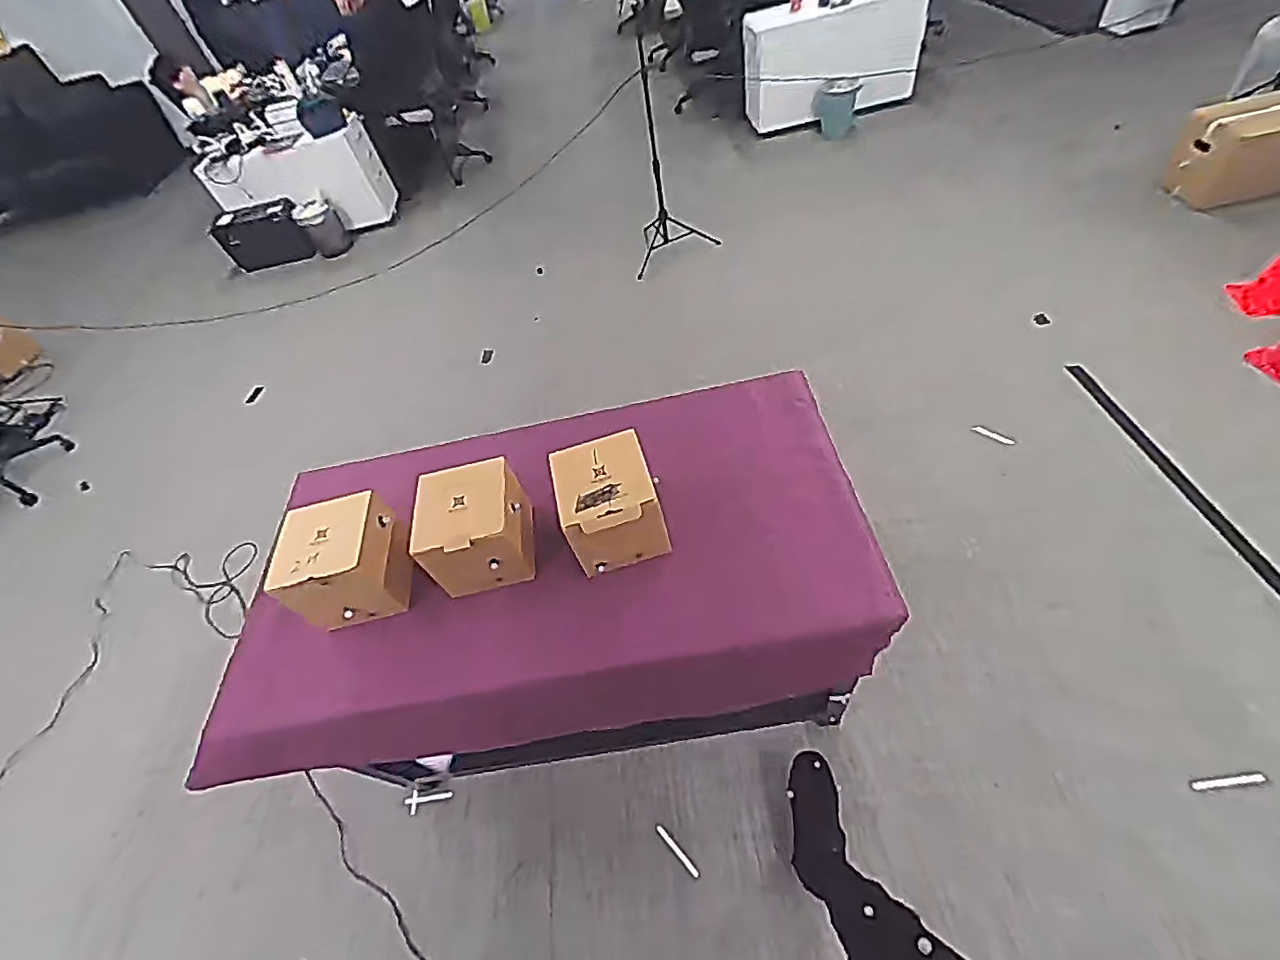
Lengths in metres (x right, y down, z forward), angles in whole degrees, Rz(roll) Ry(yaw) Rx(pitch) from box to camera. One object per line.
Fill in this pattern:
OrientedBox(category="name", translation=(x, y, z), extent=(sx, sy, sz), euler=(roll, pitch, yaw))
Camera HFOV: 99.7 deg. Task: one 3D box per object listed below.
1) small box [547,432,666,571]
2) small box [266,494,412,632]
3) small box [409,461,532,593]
OrientedBox(category="small box", translation=(-0.058, 0.047, 0.994), extent=(0.168, 0.176, 0.179), euler=(-17, 50, -1))
OrientedBox(category="small box", translation=(-0.549, 0.159, 1.017), extent=(0.168, 0.176, 0.179), euler=(-15, 51, 2))
OrientedBox(category="small box", translation=(-0.306, 0.096, 1.015), extent=(0.168, 0.176, 0.179), euler=(-13, 50, 2))
